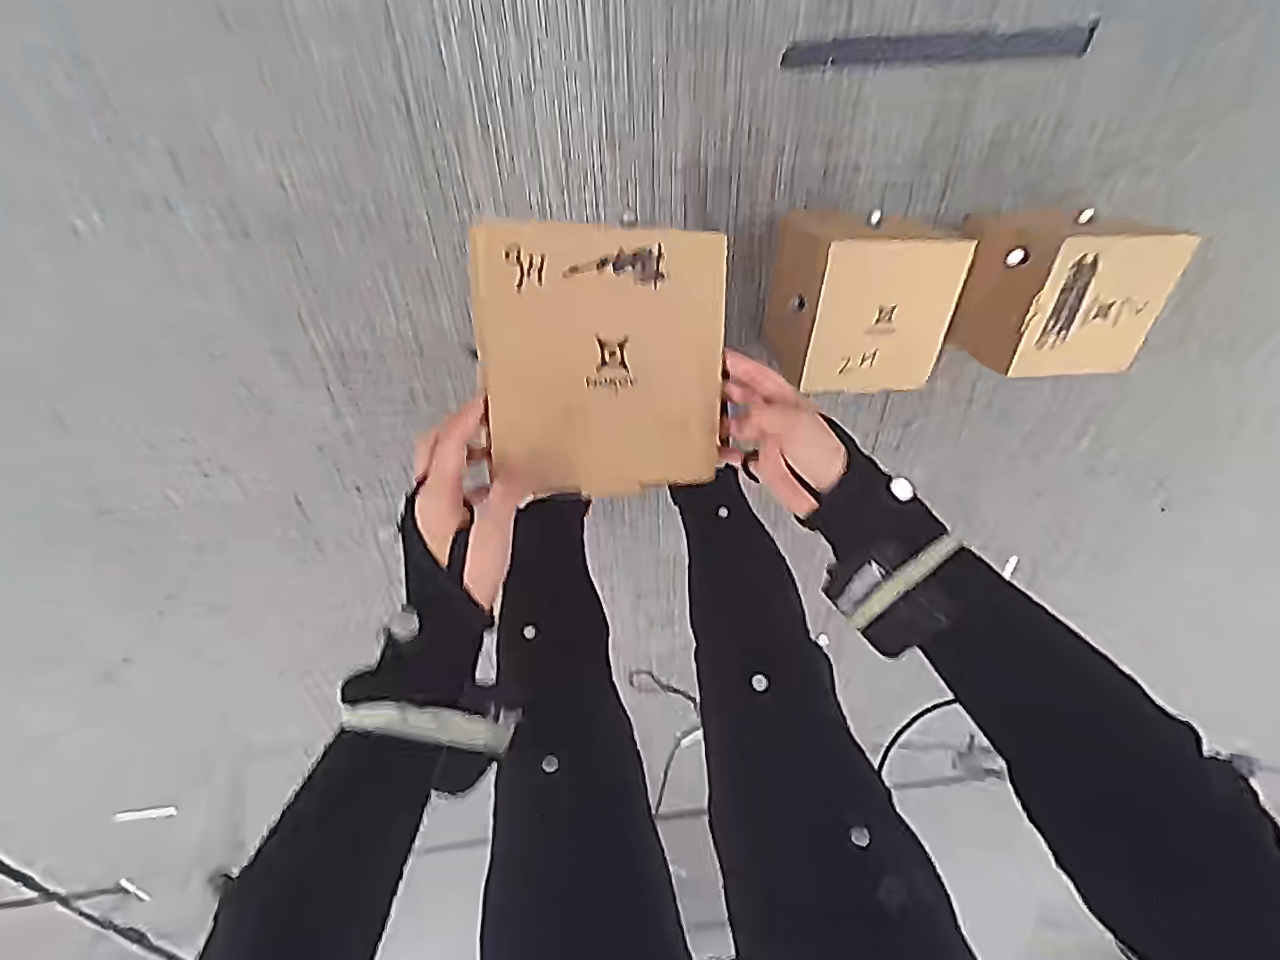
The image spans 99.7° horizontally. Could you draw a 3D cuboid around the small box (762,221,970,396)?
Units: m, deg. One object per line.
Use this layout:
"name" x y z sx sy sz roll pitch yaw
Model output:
"small box" 0.265 -0.222 0.686 0.168 0.176 0.179 -2 126 -6
